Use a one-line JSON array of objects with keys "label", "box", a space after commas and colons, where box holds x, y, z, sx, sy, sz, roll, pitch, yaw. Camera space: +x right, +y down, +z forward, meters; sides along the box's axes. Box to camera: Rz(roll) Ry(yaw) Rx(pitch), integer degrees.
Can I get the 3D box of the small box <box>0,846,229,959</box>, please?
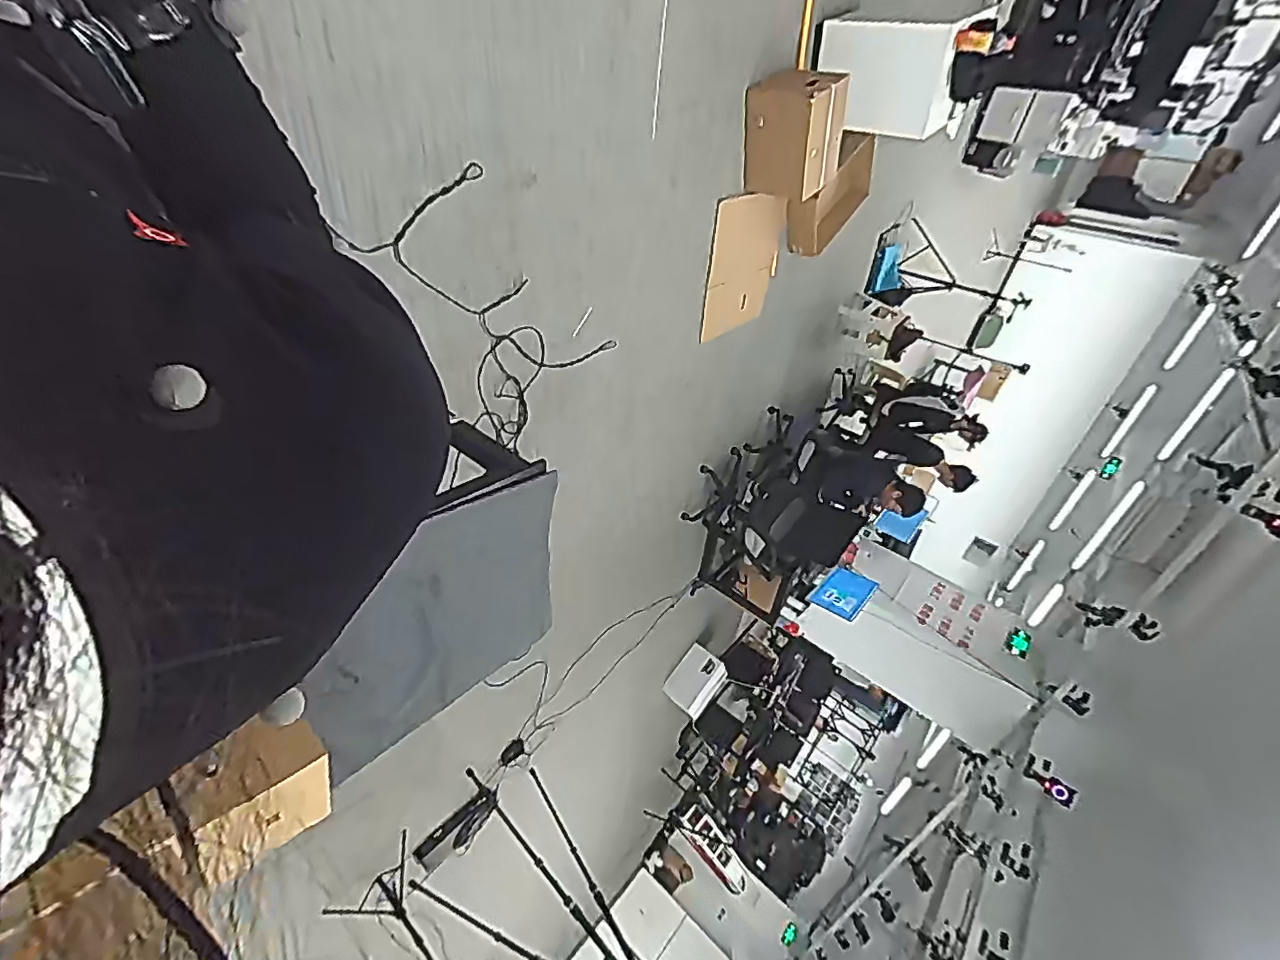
[{"label": "small box", "box": [-0.623, 0.597, 0.648, 0.179, 0.176, 0.168, -19, 131, -48]}]
